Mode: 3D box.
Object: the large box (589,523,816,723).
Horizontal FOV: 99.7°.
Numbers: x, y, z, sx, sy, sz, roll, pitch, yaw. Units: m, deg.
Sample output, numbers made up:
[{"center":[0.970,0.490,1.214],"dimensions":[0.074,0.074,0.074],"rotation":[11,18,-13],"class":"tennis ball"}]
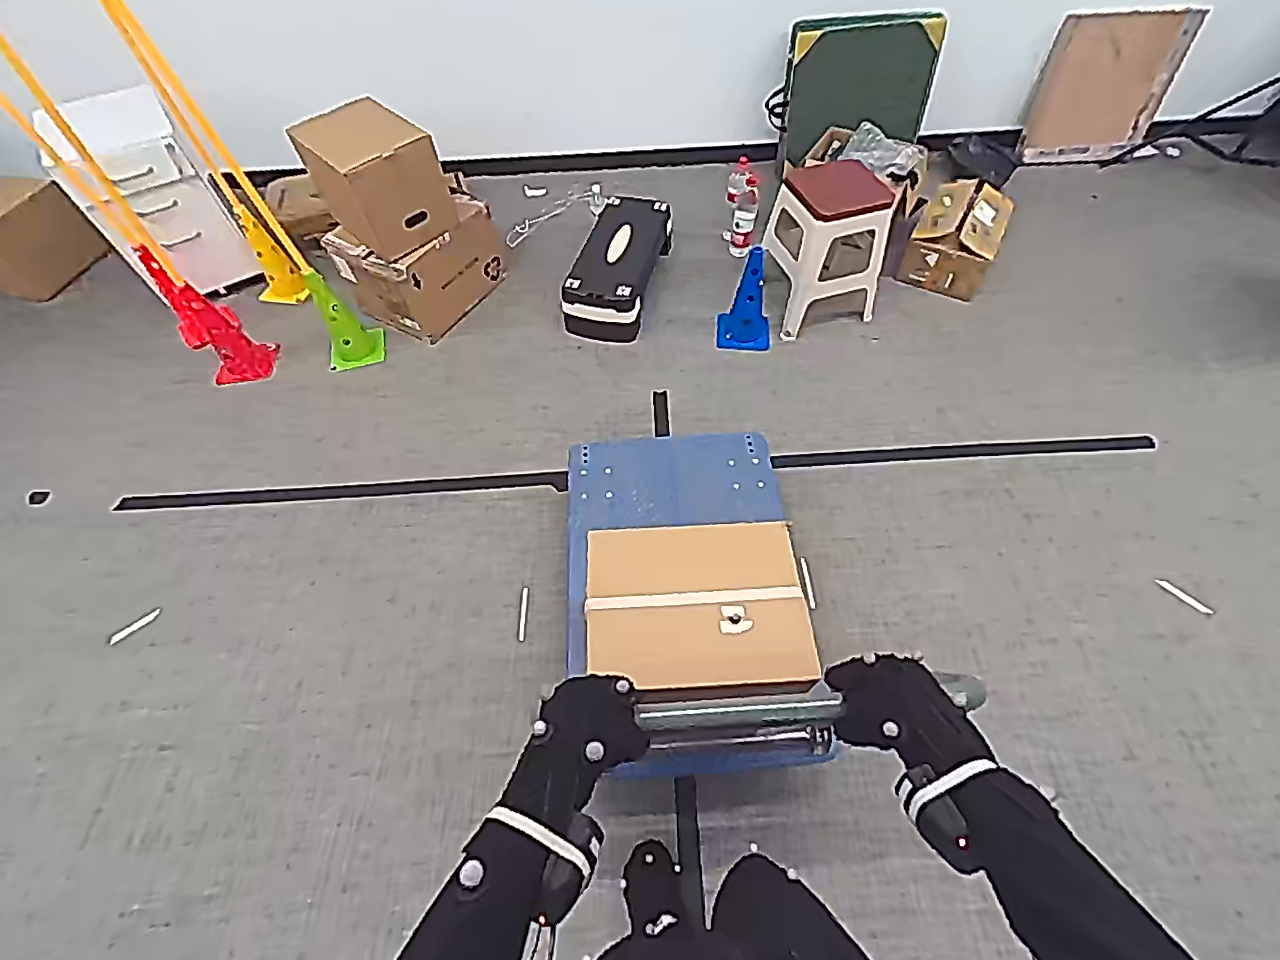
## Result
[{"center":[0.104,0.310,1.149],"dimensions":[0.408,0.320,0.320],"rotation":[-3,56,-2],"class":"large box"}]
